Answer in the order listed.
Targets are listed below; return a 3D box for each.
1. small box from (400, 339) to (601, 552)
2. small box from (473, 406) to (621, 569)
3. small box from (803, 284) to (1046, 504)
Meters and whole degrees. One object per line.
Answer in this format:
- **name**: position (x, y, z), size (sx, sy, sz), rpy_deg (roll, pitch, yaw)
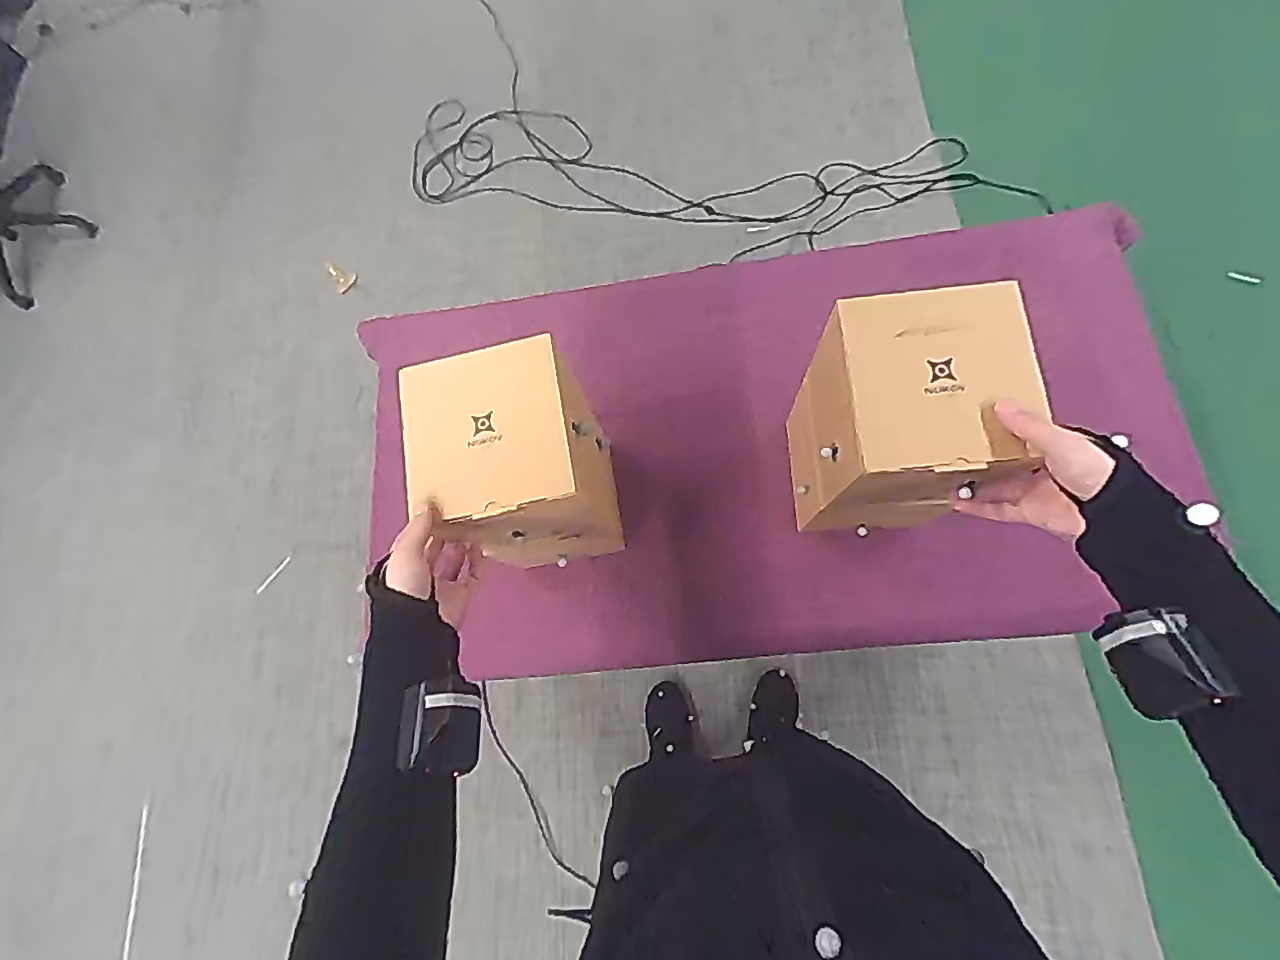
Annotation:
- **small box**: position (-0.148, -0.028, 0.615), size (0.168, 0.176, 0.179), rpy_deg (-13, 74, 4)
- **small box**: position (-0.129, 0.019, 0.769), size (0.168, 0.176, 0.179), rpy_deg (-11, 73, 5)
- **small box**: position (0.274, -0.074, 0.567), size (0.168, 0.176, 0.179), rpy_deg (-4, 75, 6)
